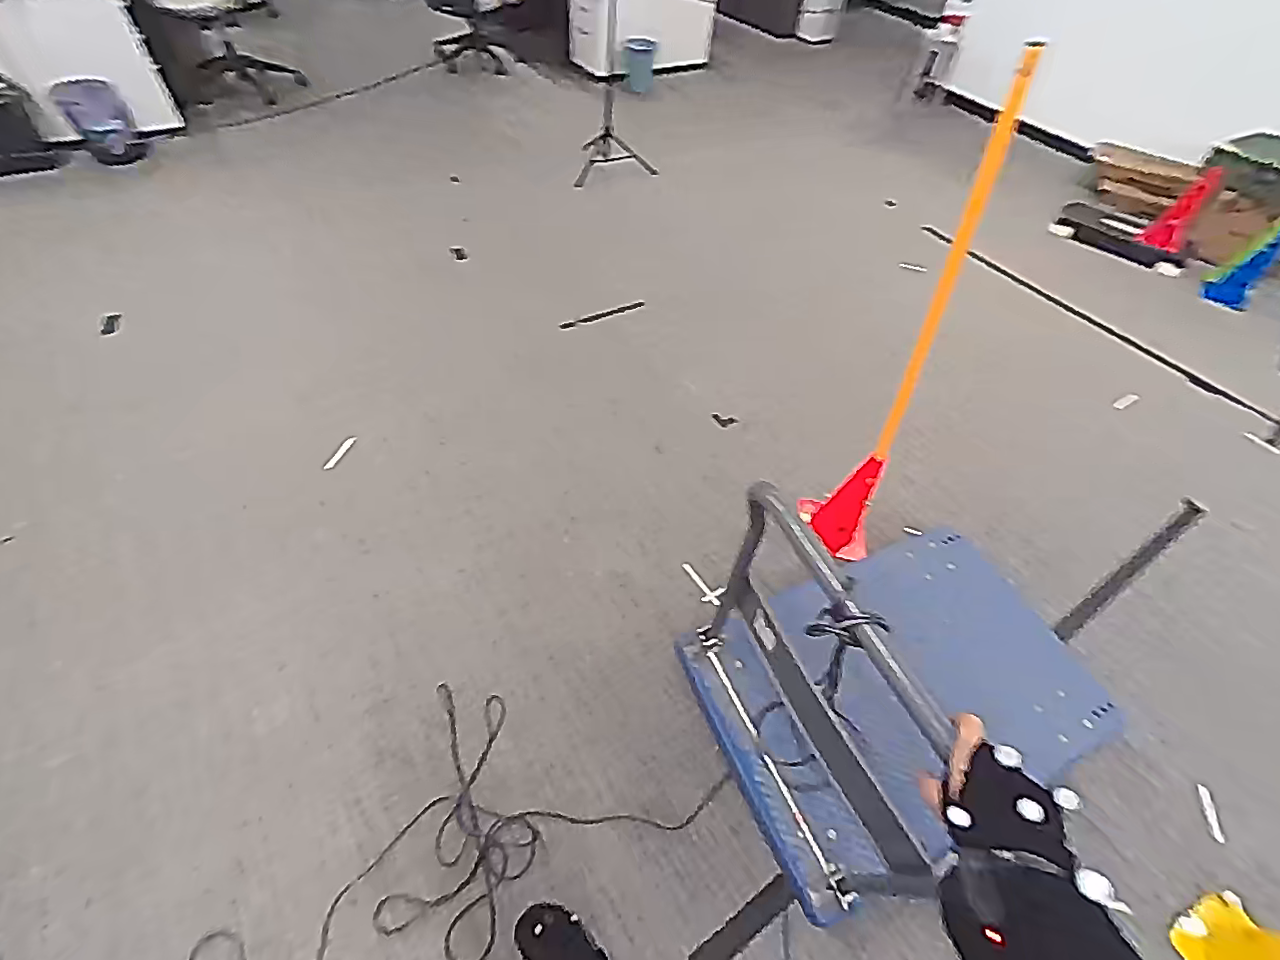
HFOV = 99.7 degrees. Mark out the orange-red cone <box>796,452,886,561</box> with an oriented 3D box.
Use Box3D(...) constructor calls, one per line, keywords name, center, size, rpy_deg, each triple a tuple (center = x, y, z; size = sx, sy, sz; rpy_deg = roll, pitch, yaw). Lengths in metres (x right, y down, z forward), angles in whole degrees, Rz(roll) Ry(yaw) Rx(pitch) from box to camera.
Box3D(name="orange-red cone", center=(0.601, 0.046, 1.529), size=(0.199, 0.360, 0.198), rpy_deg=(13, 53, 2))
